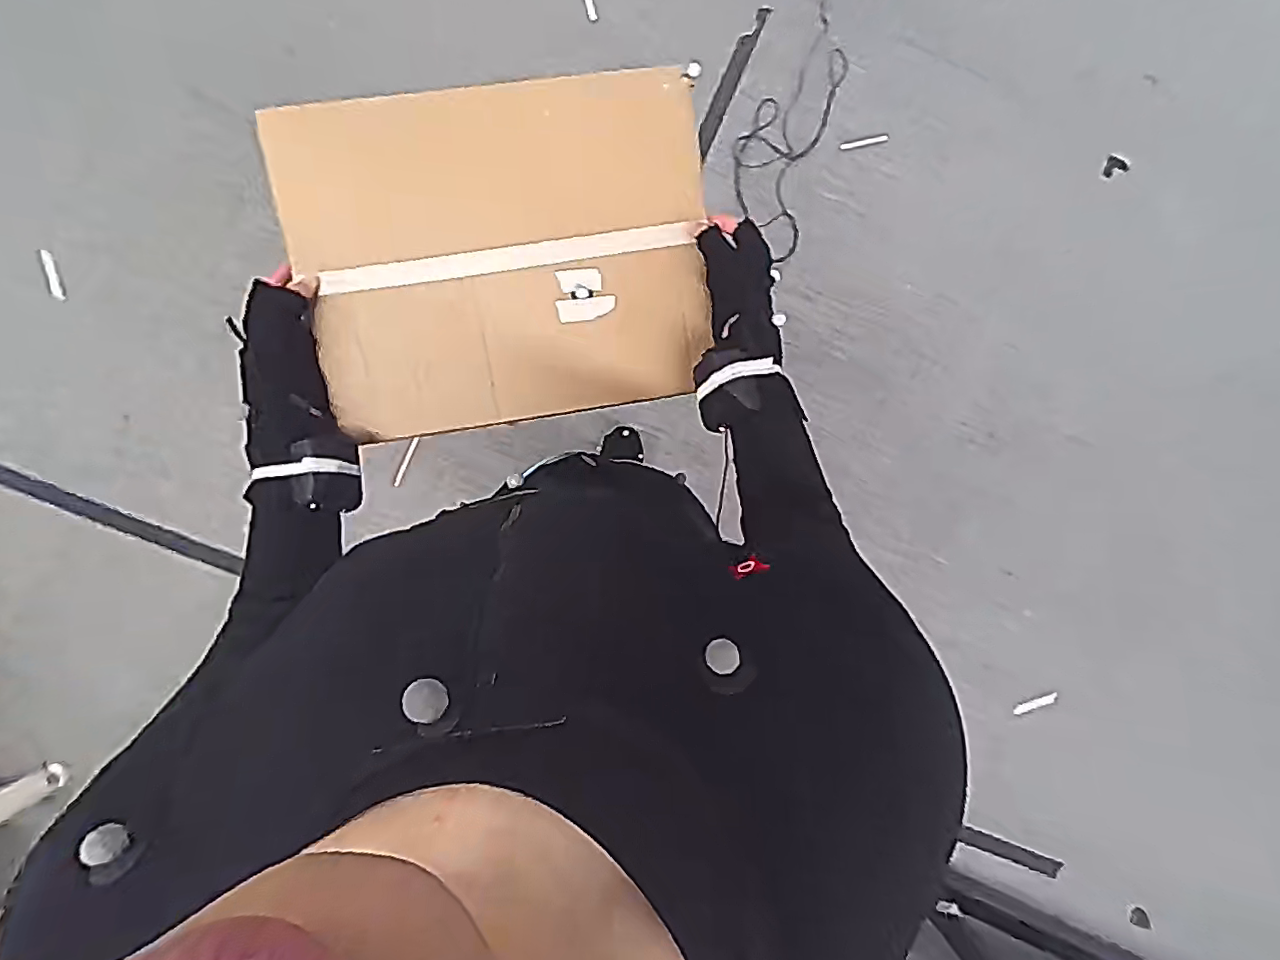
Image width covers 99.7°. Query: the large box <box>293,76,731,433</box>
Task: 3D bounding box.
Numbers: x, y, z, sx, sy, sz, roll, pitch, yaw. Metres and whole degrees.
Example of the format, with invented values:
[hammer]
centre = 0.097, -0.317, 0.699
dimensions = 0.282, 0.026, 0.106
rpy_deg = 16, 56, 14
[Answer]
[large box]
centre = -0.132, -0.248, 0.695
dimensions = 0.408, 0.320, 0.320
rpy_deg = -8, 100, -5
